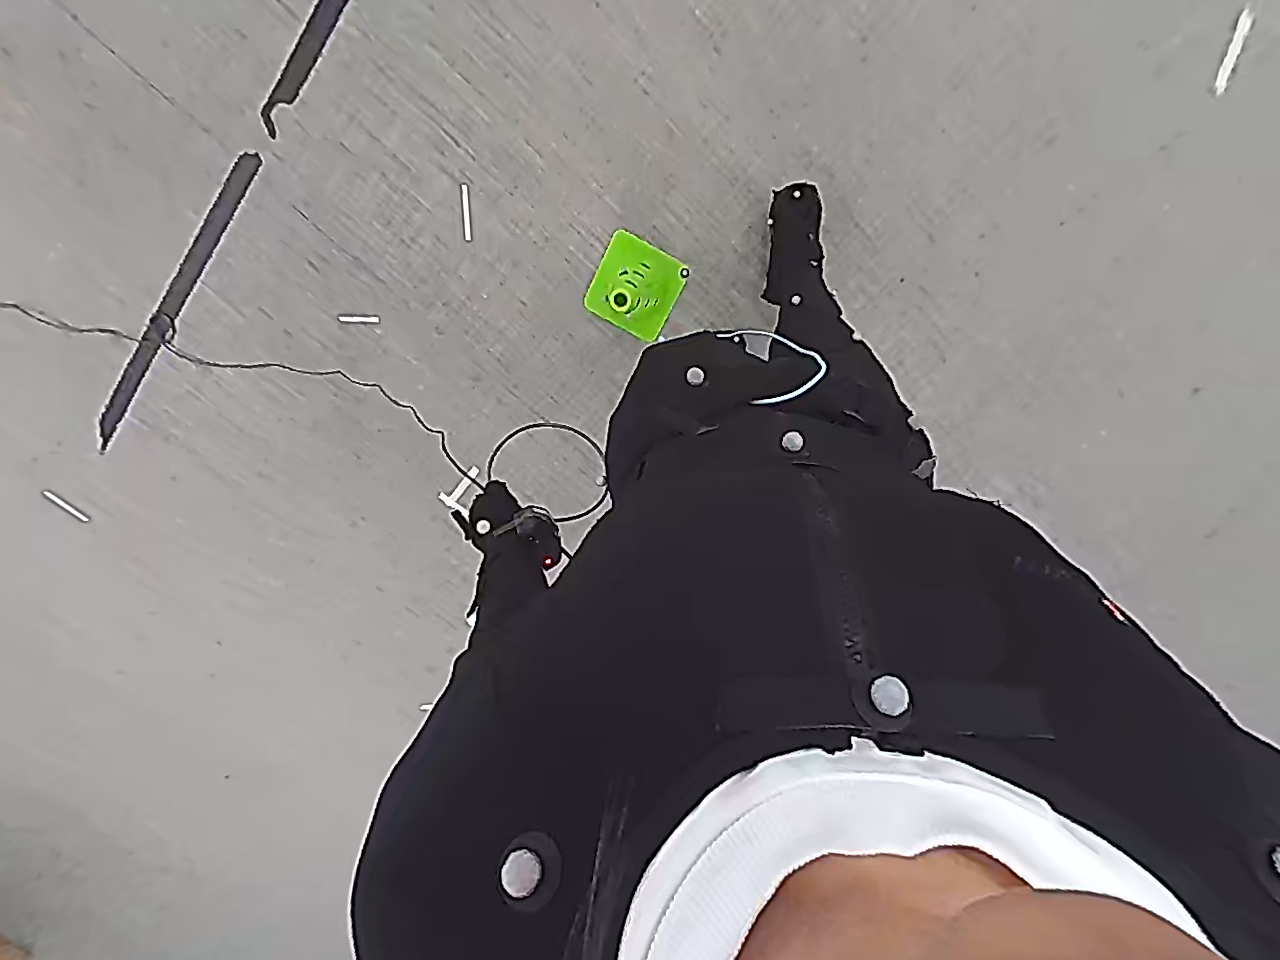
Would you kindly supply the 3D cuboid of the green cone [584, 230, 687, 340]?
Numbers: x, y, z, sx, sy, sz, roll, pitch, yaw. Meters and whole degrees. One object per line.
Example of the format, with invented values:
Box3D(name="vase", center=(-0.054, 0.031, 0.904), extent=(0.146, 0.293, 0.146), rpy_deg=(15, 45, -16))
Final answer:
Box3D(name="green cone", center=(-0.031, -0.393, 1.135), extent=(0.200, 0.368, 0.202), rpy_deg=(27, 113, -6))
